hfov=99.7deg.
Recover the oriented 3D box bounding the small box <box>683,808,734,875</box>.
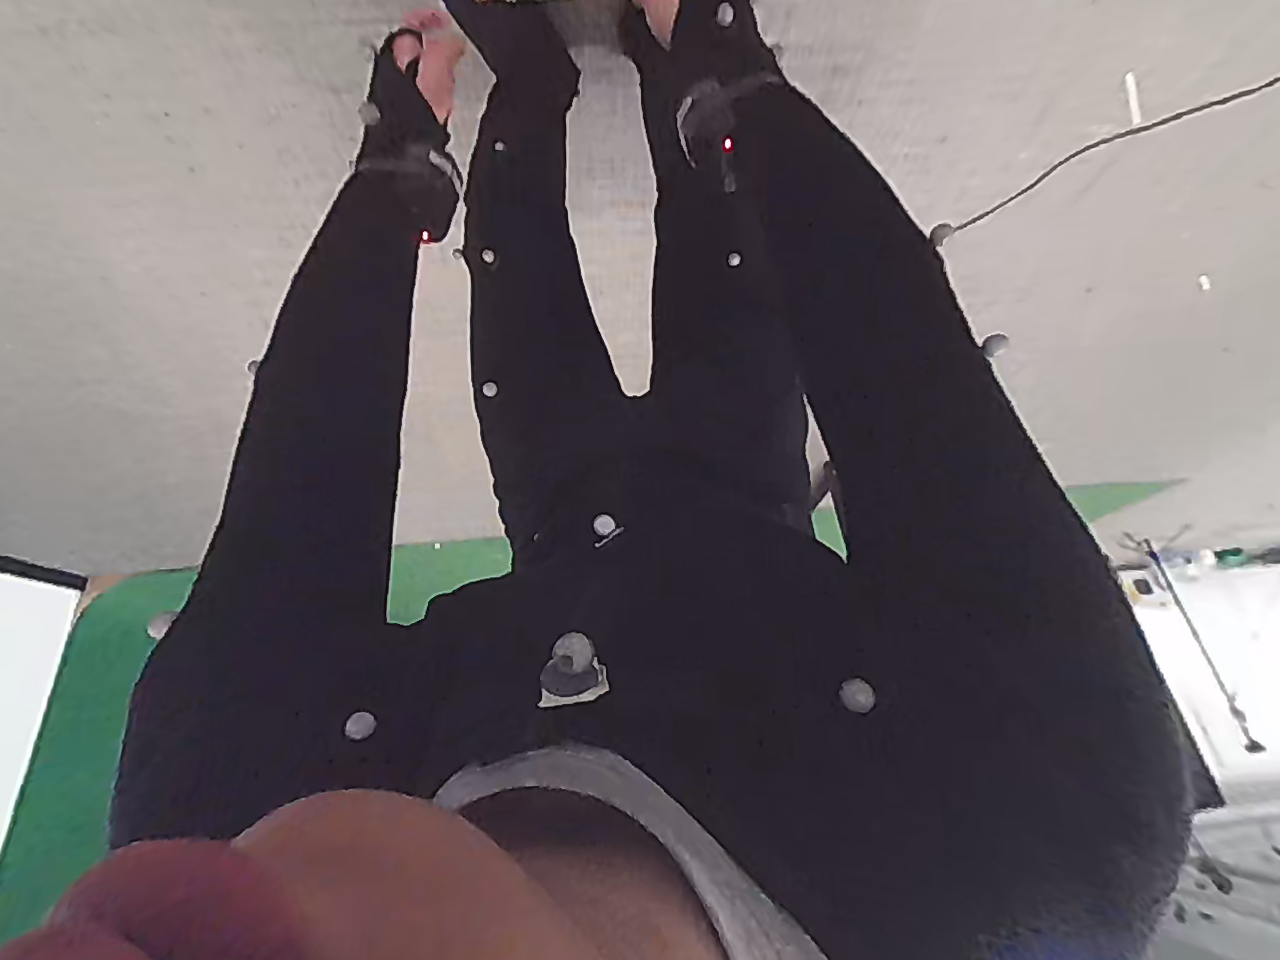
[{"bbox_3d":[0.252,1.323,1.986,0.168,0.176,0.179,-7,158,7],"label":"small box"}]
